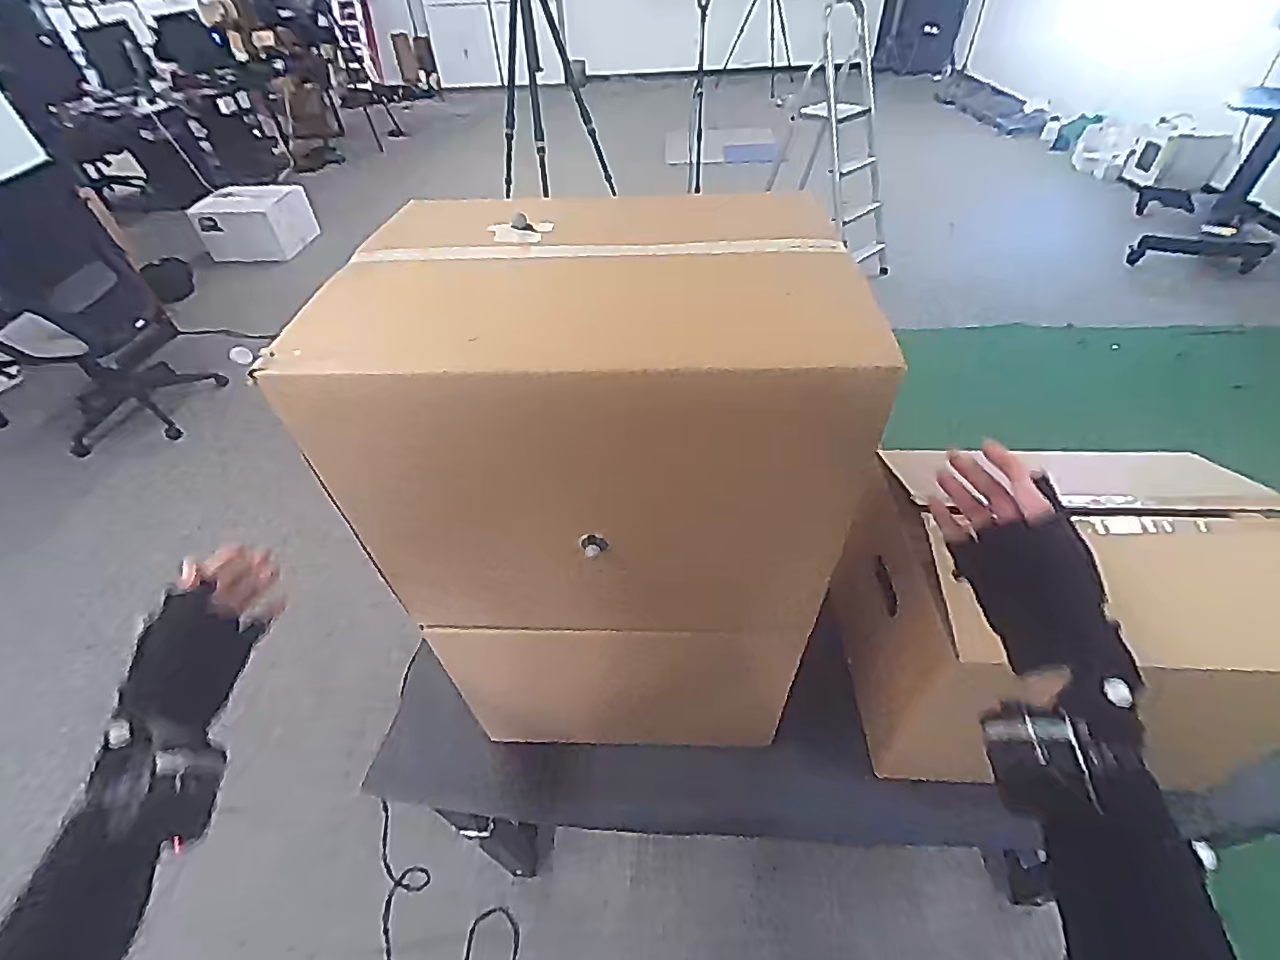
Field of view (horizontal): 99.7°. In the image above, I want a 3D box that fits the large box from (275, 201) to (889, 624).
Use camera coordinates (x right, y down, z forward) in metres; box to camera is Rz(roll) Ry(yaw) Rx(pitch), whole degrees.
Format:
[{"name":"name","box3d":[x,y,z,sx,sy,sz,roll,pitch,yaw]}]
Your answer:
[{"name":"large box","box3d":[-0.030,-0.064,0.552,0.408,0.320,0.320,0,44,3]}]
